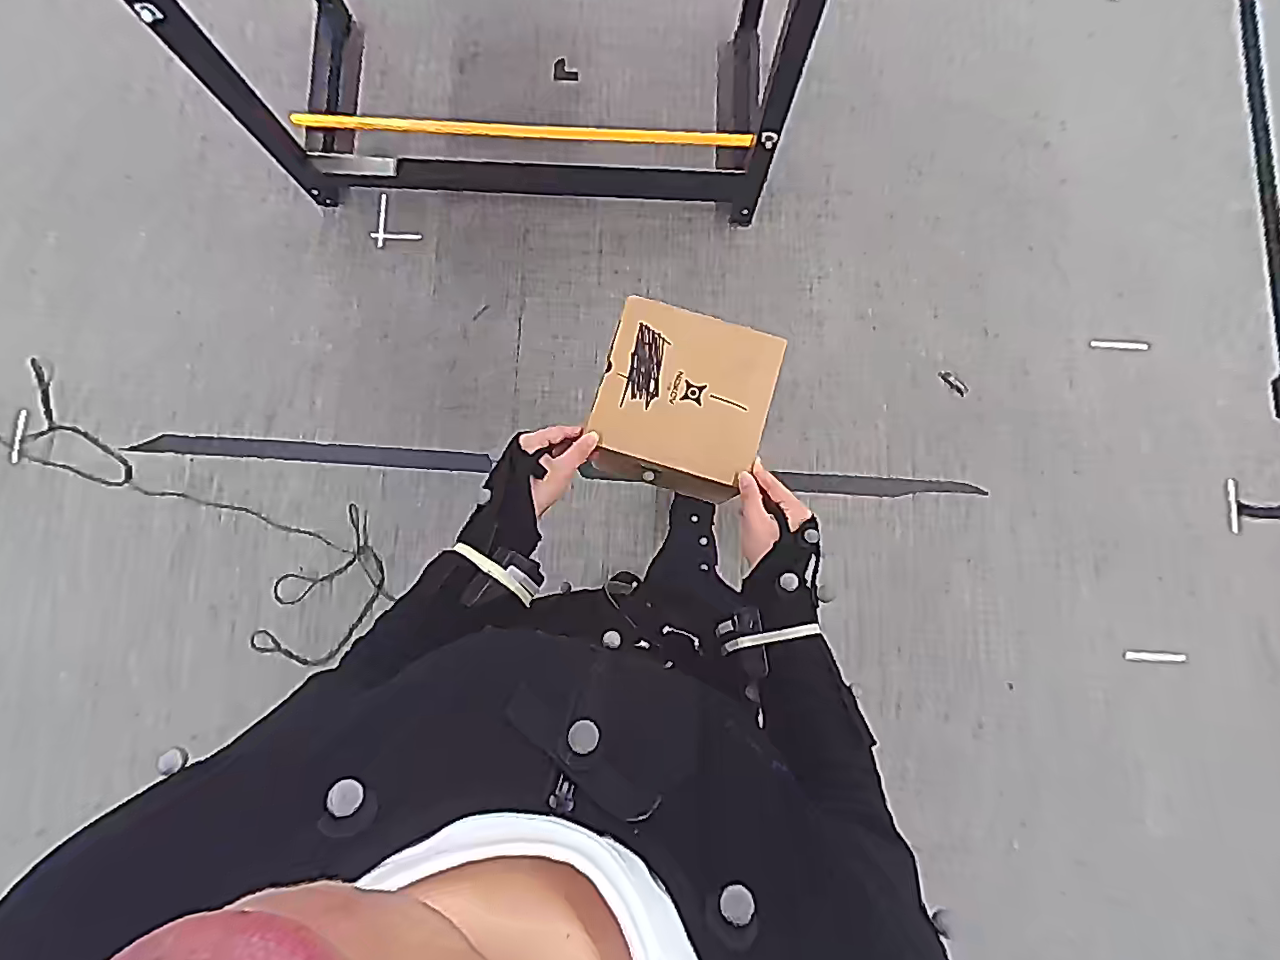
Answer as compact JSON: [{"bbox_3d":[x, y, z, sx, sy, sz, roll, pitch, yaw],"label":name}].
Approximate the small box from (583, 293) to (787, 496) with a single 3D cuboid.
[{"bbox_3d":[0.046,-0.086,0.632,0.179,0.176,0.168,17,83,1],"label":"small box"}]
